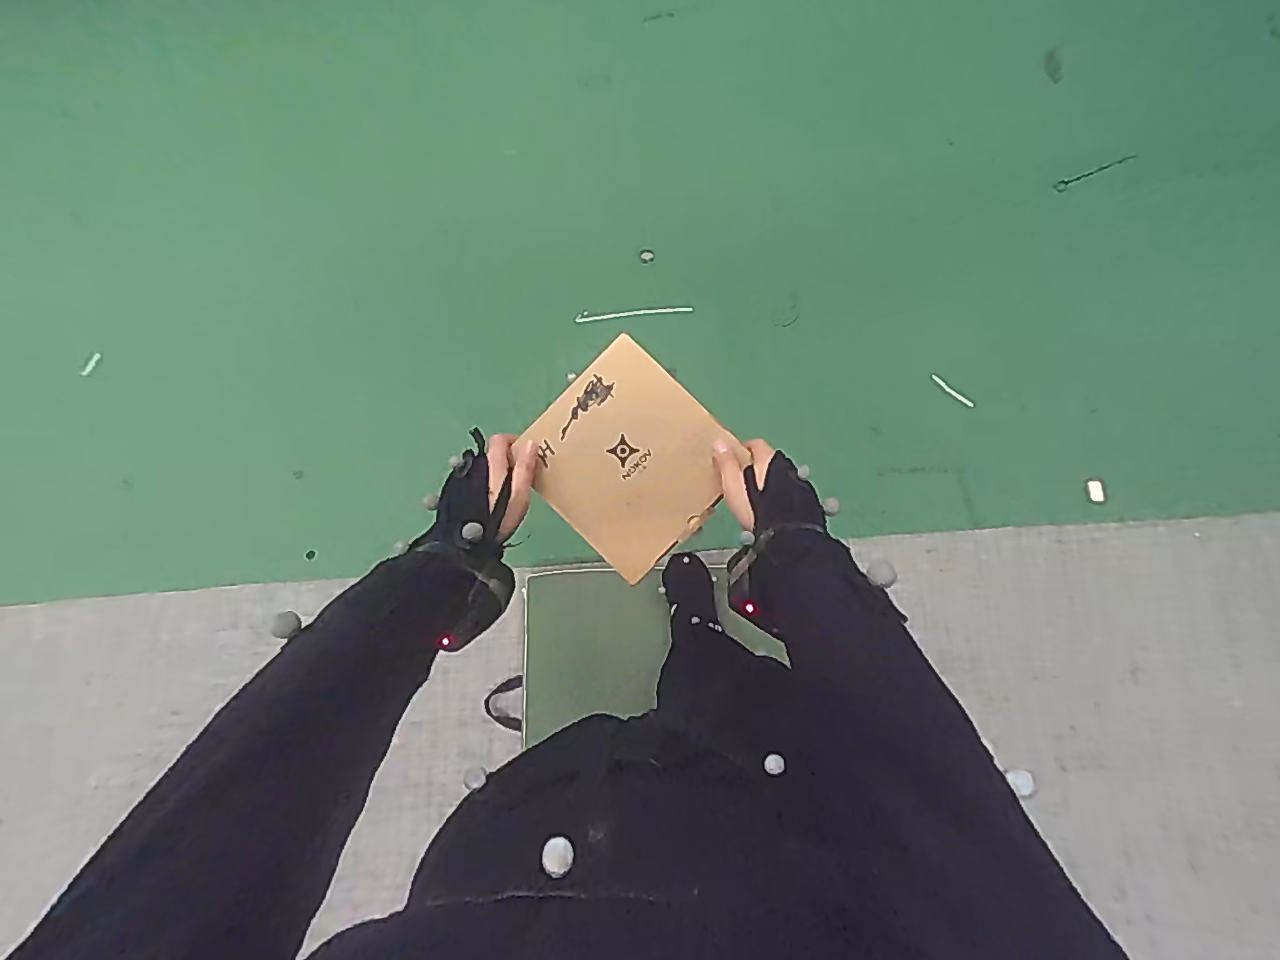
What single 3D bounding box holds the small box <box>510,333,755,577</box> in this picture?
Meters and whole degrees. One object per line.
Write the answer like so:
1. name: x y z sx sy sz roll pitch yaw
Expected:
1. small box: -0.006 -0.022 0.588 0.179 0.176 0.168 45 88 3
